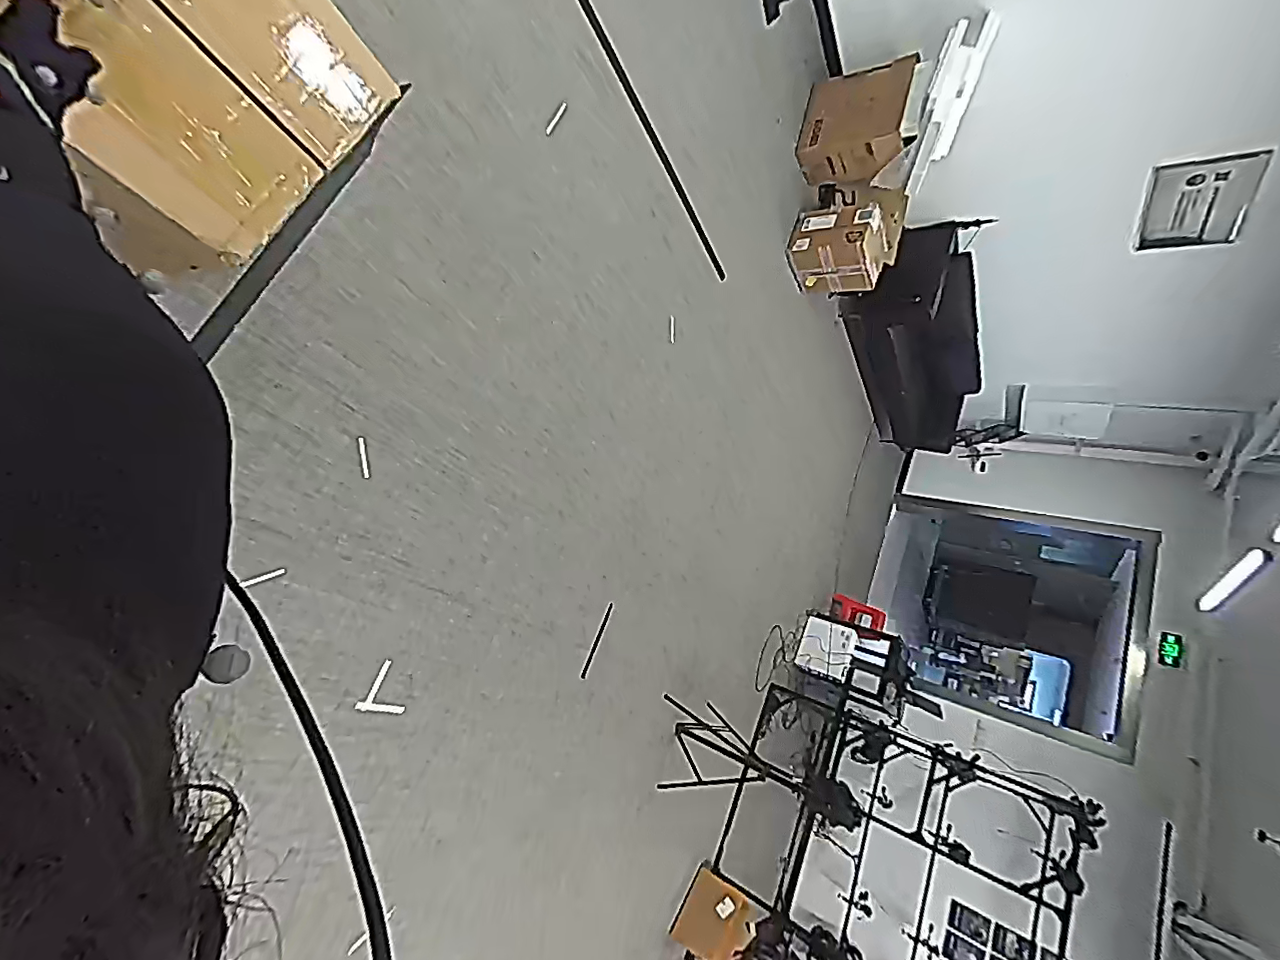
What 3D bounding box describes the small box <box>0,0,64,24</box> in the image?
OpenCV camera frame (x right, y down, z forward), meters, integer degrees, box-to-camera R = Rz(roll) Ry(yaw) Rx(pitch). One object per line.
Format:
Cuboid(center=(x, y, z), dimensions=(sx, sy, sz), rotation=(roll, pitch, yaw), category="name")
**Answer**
Cuboid(center=(-0.599, -0.570, 0.483), dimensions=(0.179, 0.176, 0.168), rotation=(40, 70, -52), category="small box")
